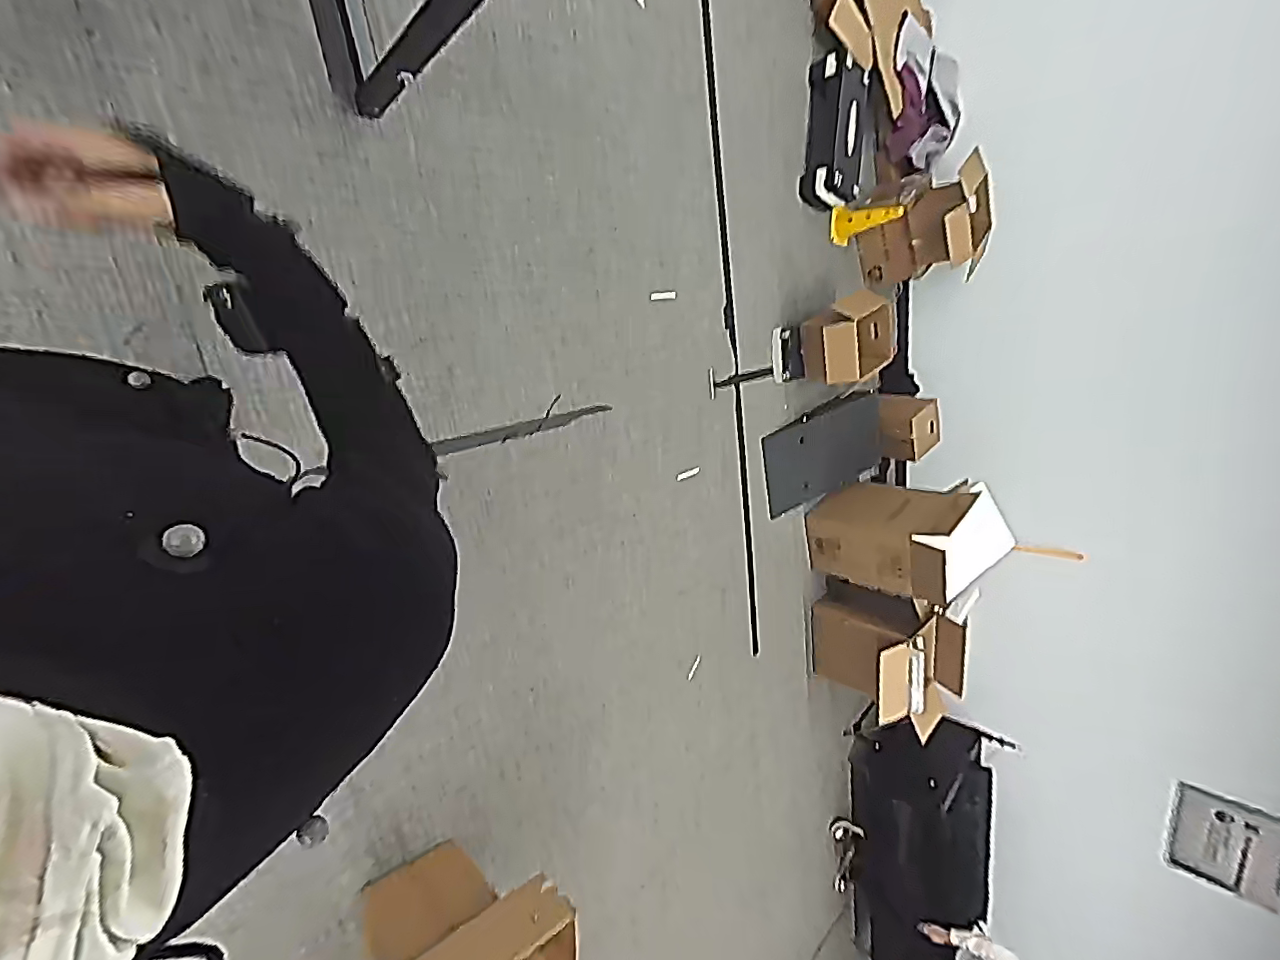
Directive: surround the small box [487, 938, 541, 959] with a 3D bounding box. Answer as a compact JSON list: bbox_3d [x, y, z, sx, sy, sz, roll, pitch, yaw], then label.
[{"bbox_3d":[-0.363,1.469,1.540,0.168,0.176,0.179,-11,106,-41],"label":"small box"}]
